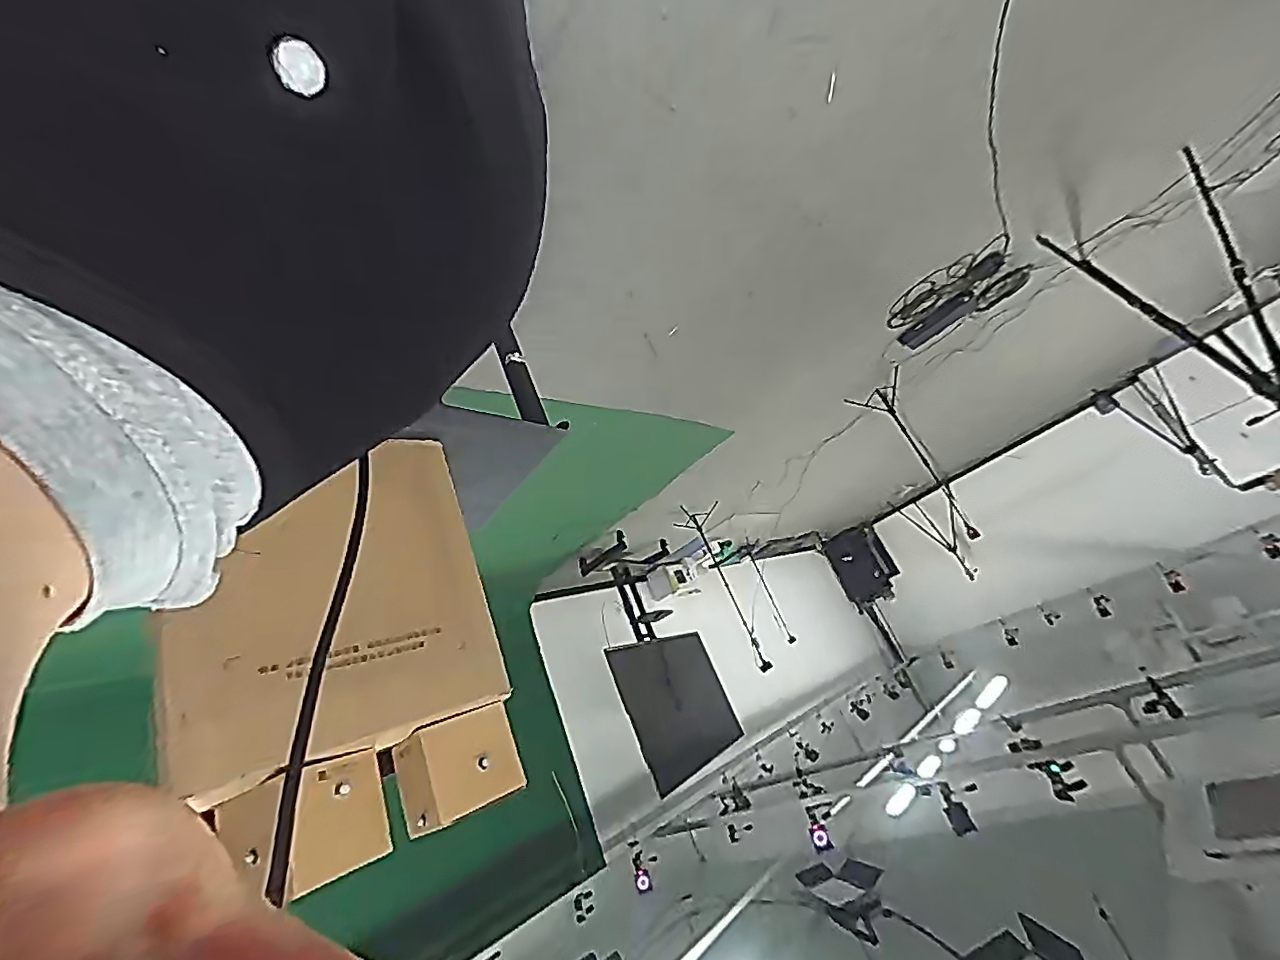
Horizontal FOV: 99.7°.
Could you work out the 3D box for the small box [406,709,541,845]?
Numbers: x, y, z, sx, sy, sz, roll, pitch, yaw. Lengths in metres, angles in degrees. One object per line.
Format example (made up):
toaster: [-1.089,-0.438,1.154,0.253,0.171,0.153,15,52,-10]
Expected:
small box: [-0.330,0.573,1.060,0.179,0.176,0.168,-4,149,-45]

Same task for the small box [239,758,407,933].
small box: [-0.518,0.580,0.880,0.179,0.176,0.168,-33,156,17]
